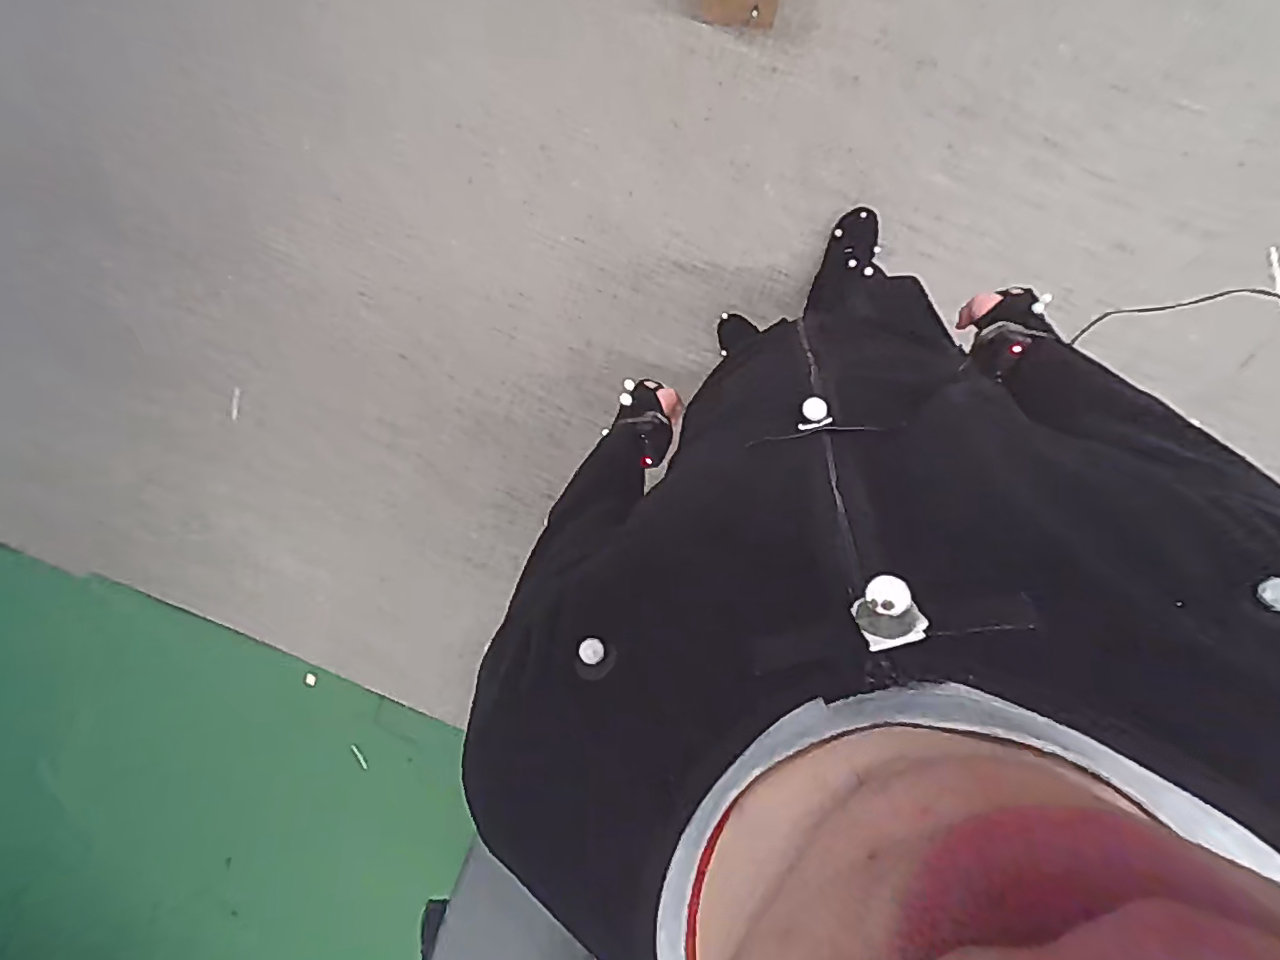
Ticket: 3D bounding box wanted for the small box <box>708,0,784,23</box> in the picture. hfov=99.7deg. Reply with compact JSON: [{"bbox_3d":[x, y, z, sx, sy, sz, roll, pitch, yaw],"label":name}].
[{"bbox_3d":[0.234,-1.097,1.126,0.168,0.176,0.179,9,108,5],"label":"small box"}]
